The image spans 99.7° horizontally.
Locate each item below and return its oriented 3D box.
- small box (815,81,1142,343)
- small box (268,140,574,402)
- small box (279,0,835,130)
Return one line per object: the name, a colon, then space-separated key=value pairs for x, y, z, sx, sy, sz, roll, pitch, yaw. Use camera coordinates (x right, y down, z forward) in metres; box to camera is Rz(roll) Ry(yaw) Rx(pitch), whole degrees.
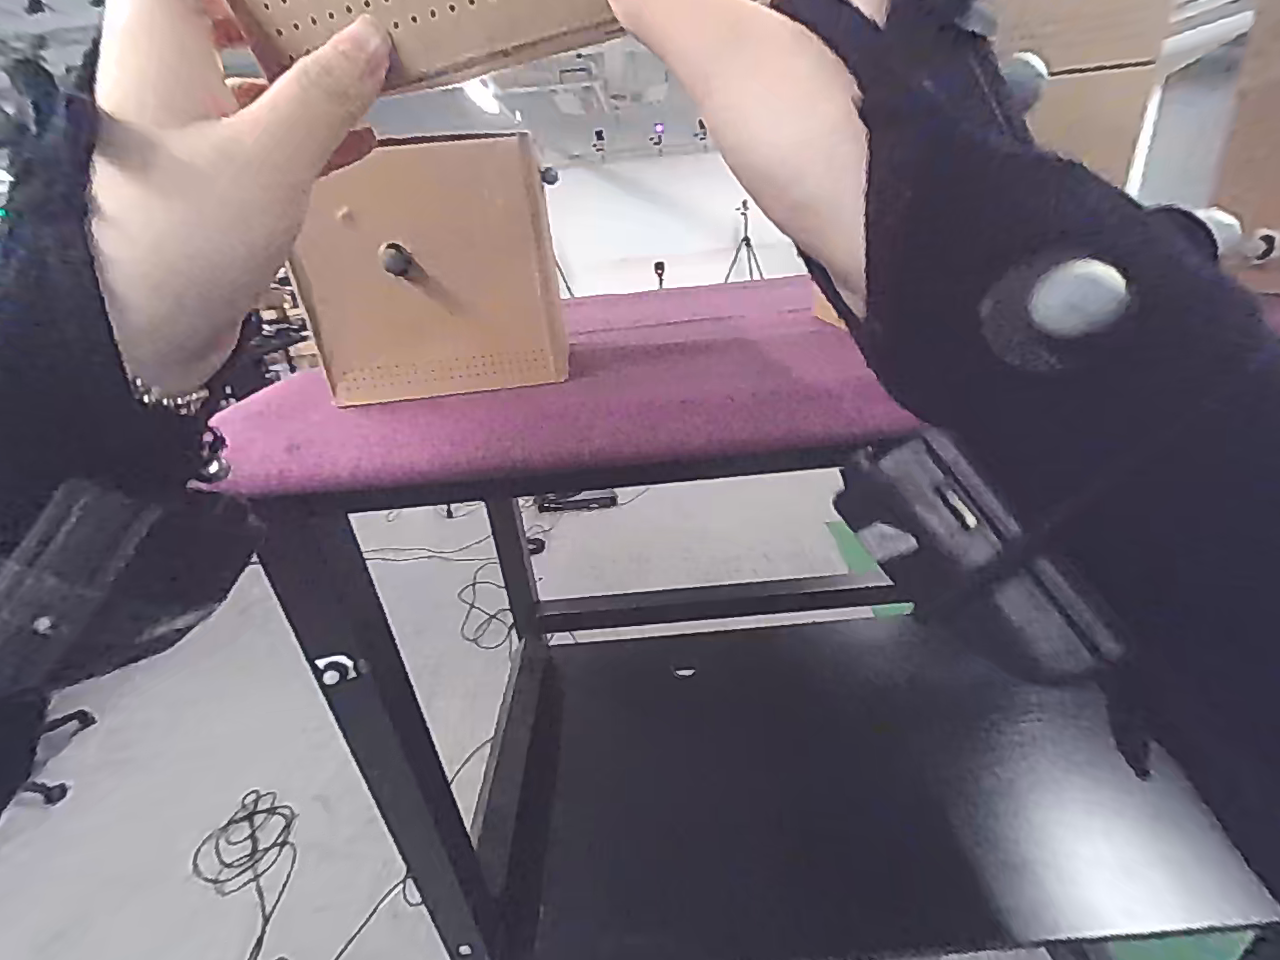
small box: x=0.260 y=-0.217 z=0.469 sx=0.168 sy=0.176 sz=0.179 roll=-4 pitch=25 yaw=1
small box: x=-0.154 y=-0.170 z=0.454 sx=0.179 sy=0.176 sz=0.168 roll=-7 pitch=27 yaw=-4
small box: x=-0.034 y=-0.239 z=0.184 sx=0.179 sy=0.176 sz=0.168 roll=-4 pitch=39 yaw=12
